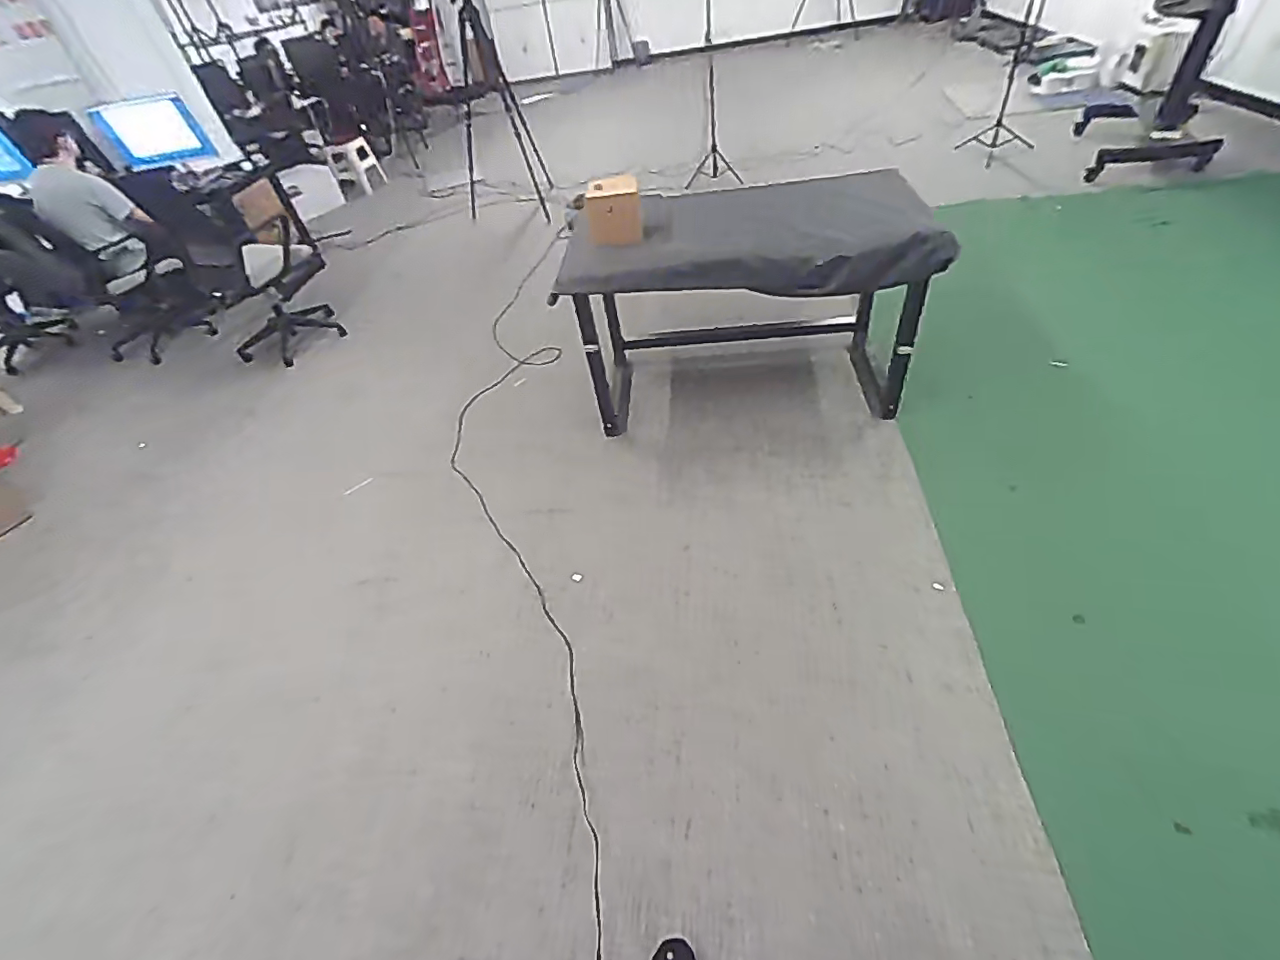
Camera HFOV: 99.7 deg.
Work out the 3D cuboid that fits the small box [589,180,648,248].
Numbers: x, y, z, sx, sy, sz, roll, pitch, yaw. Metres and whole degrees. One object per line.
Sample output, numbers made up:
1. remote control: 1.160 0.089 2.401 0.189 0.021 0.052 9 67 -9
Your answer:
1. small box: -0.071 -0.926 1.890 0.179 0.176 0.168 -4 45 6
